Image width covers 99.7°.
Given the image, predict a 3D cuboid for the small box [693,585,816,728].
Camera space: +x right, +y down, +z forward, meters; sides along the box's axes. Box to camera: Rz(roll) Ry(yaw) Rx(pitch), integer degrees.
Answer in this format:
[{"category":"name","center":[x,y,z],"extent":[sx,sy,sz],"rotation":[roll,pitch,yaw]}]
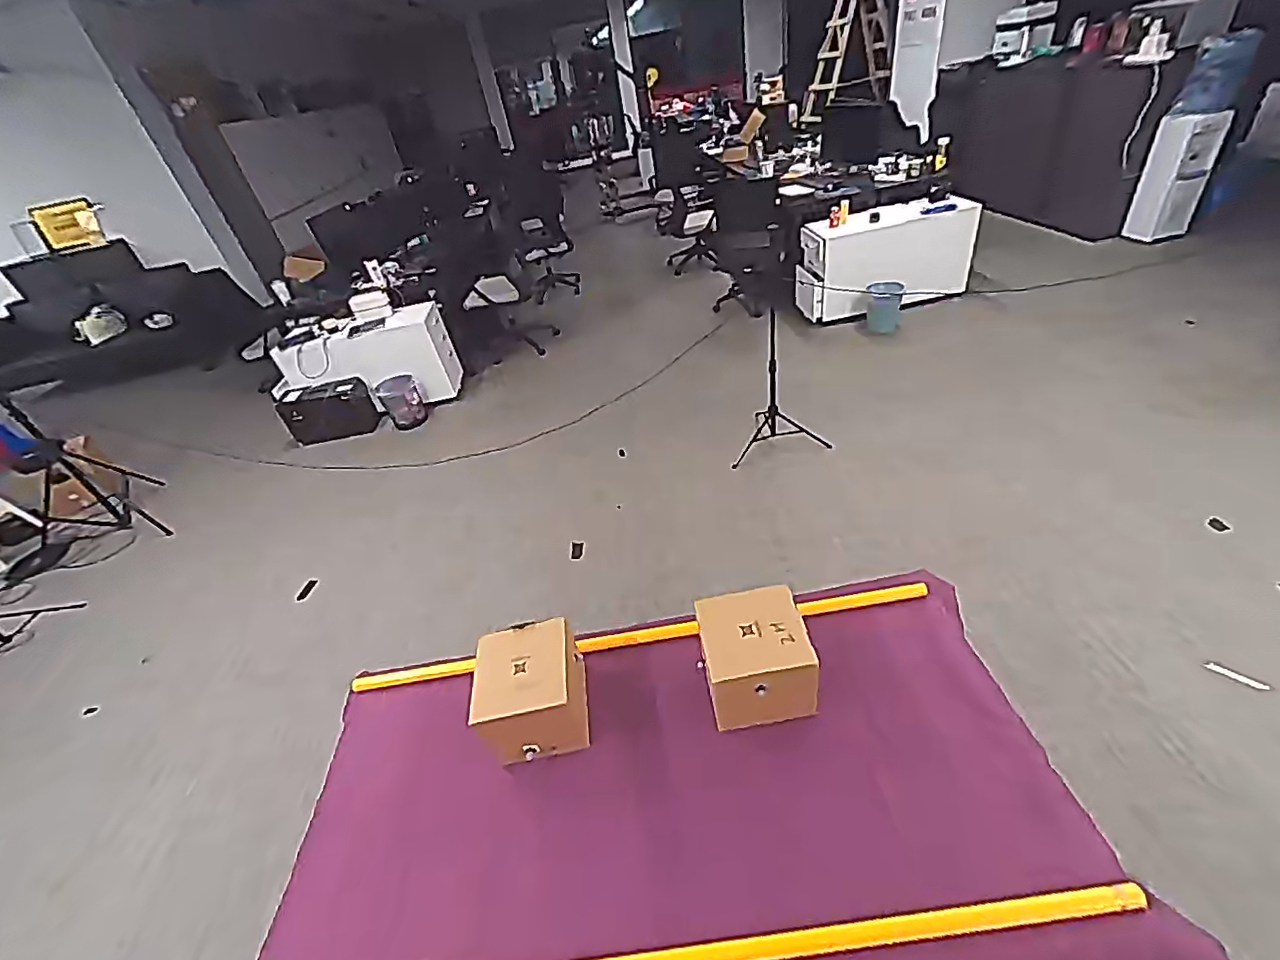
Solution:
[{"category":"small box","center":[0.201,0.317,0.963],"extent":[0.179,0.176,0.168],"rotation":[-11,39,2]}]

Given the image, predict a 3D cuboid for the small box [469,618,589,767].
[{"category":"small box","center":[-0.194,0.386,0.984],"extent":[0.168,0.176,0.179],"rotation":[-13,38,0]}]
